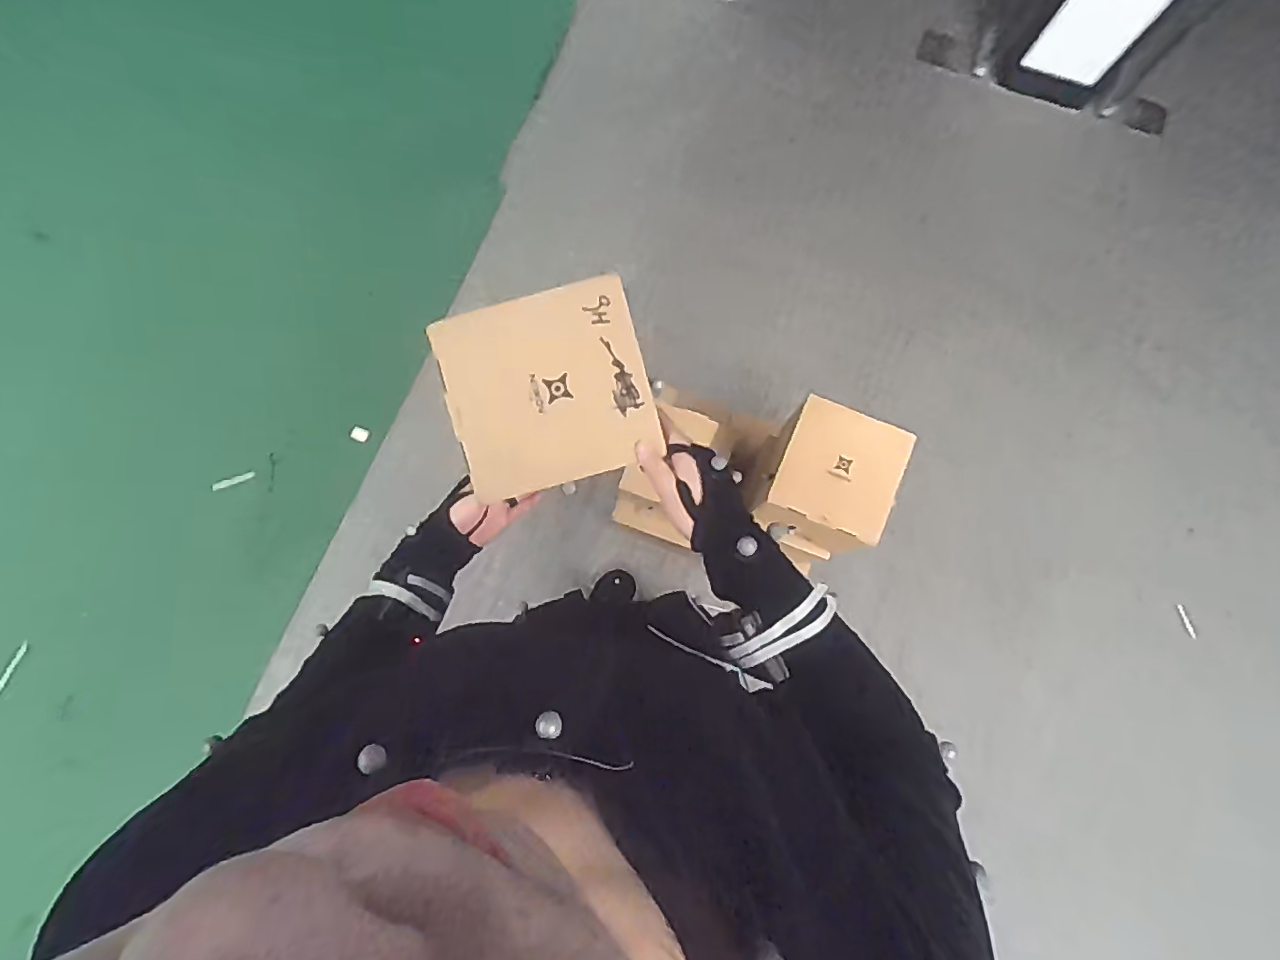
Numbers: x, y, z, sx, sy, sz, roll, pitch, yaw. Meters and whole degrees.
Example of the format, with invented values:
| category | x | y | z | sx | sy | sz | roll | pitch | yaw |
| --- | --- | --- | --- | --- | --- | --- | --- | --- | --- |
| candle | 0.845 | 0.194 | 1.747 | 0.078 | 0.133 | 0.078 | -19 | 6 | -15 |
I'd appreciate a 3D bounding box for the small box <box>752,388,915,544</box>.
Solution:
| category | x | y | z | sx | sy | sz | roll | pitch | yaw |
| --- | --- | --- | --- | --- | --- | --- | --- | --- | --- |
| small box | 0.292 | -0.013 | 0.852 | 0.168 | 0.176 | 0.179 | 24 | 81 | 5 |
